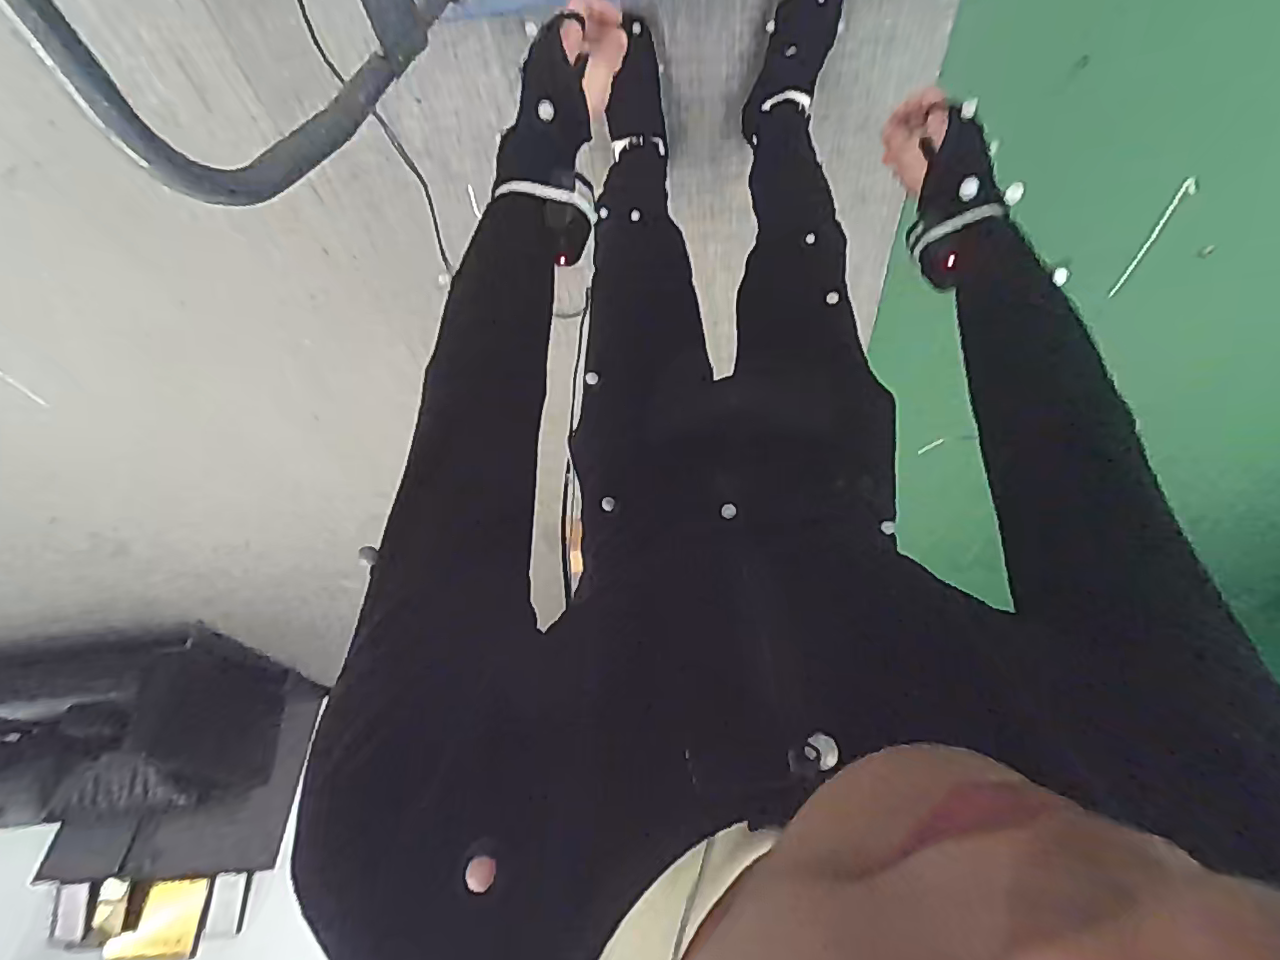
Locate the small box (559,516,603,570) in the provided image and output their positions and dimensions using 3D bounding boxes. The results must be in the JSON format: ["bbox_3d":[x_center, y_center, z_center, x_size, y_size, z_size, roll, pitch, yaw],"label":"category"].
[{"bbox_3d":[-0.249,0.263,2.295,0.168,0.176,0.179,-4,142,2],"label":"small box"}]
